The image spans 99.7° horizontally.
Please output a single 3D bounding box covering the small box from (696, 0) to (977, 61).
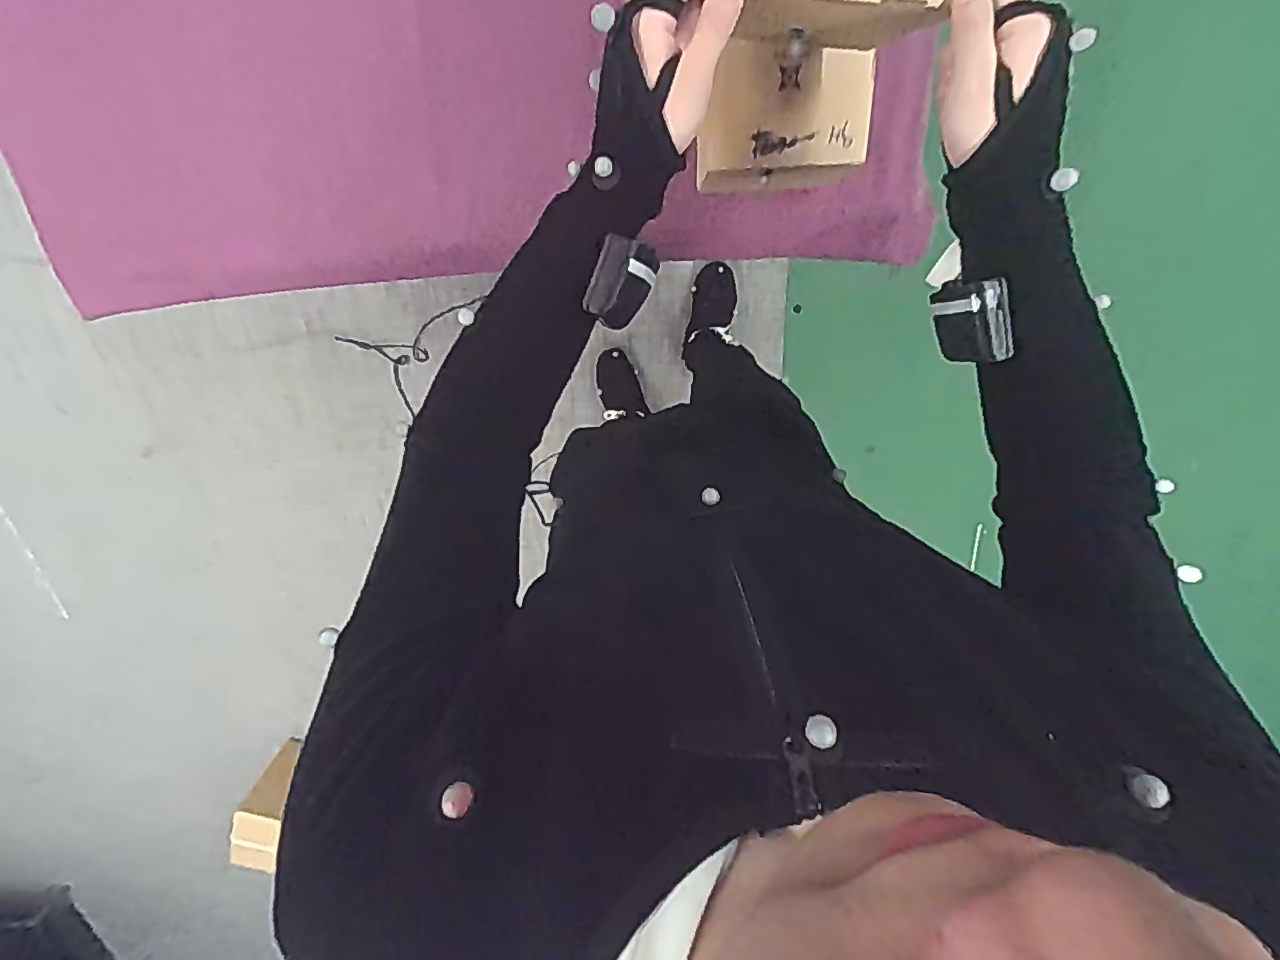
[{"bbox_3d":[0.136,-0.416,0.369,0.168,0.176,0.179,2,120,-4],"label":"small box"}]

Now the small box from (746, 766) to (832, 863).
[{"bbox_3d":[0.450,1.021,1.666,0.179,0.176,0.168,34,110,-13],"label":"small box"}]

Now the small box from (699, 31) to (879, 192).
[{"bbox_3d":[0.153,-0.436,0.607,0.168,0.176,0.179,-1,110,3],"label":"small box"}]
